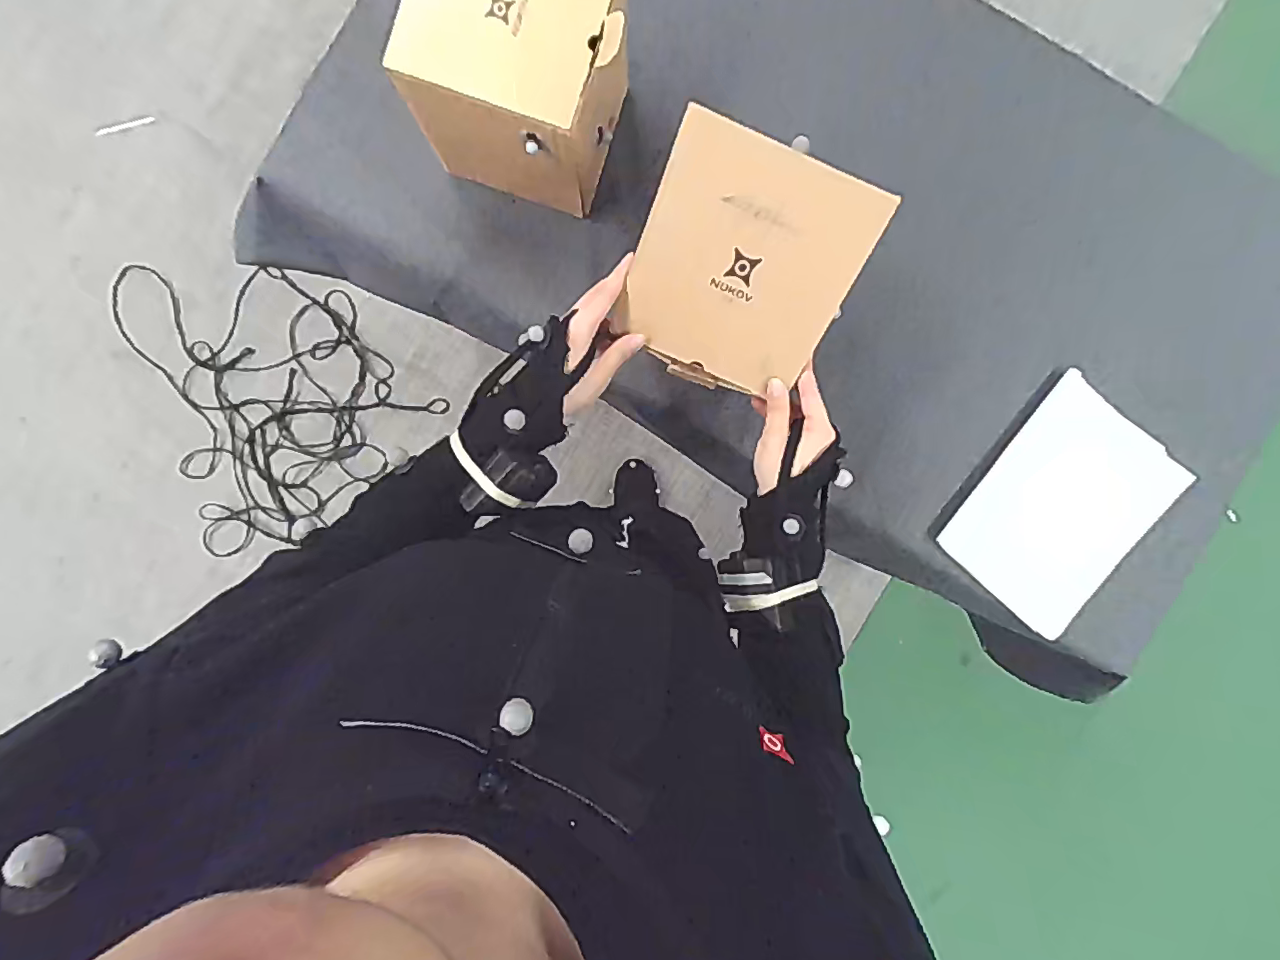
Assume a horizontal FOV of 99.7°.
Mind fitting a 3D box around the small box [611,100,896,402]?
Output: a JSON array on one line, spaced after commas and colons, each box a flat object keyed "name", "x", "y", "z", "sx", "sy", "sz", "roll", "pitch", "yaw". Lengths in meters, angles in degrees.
[{"name": "small box", "x": 0.091, "y": -0.203, "z": 0.488, "sx": 0.168, "sy": 0.176, "sz": 0.179, "roll": 22, "pitch": 120, "yaw": -4}]

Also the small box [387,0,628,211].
[{"name": "small box", "x": -0.118, "y": -0.409, "z": 0.553, "sx": 0.179, "sy": 0.176, "sz": 0.168, "roll": 17, "pitch": 90, "yaw": -3}]
